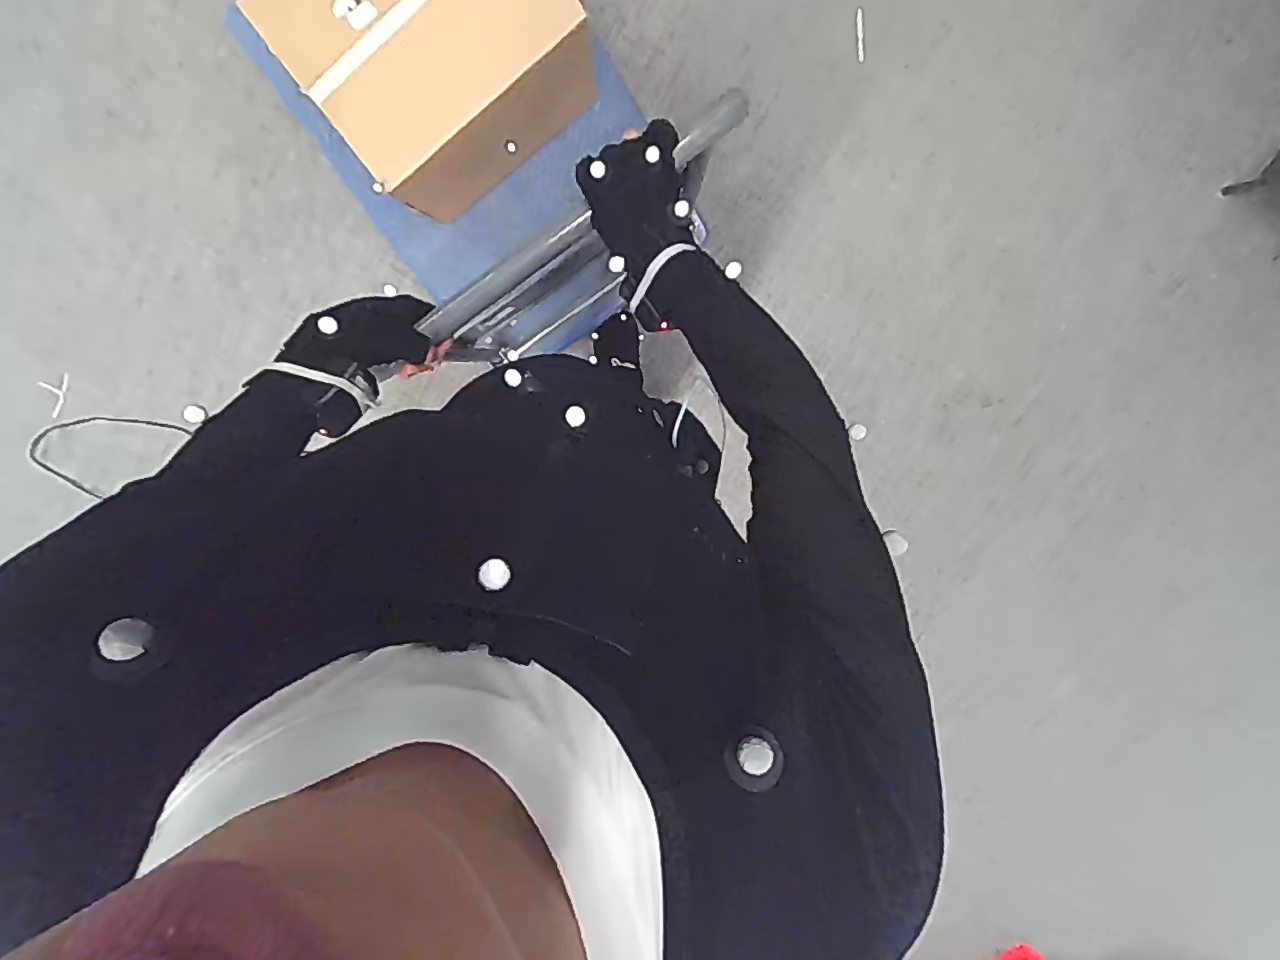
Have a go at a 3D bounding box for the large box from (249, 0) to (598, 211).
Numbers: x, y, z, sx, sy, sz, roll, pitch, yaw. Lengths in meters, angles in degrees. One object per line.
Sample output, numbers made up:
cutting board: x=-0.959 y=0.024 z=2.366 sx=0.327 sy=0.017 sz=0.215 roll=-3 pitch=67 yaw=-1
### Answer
large box: x=-0.320 y=-0.740 z=0.920 sx=0.408 sy=0.320 sz=0.320 roll=-36 pitch=105 yaw=9
